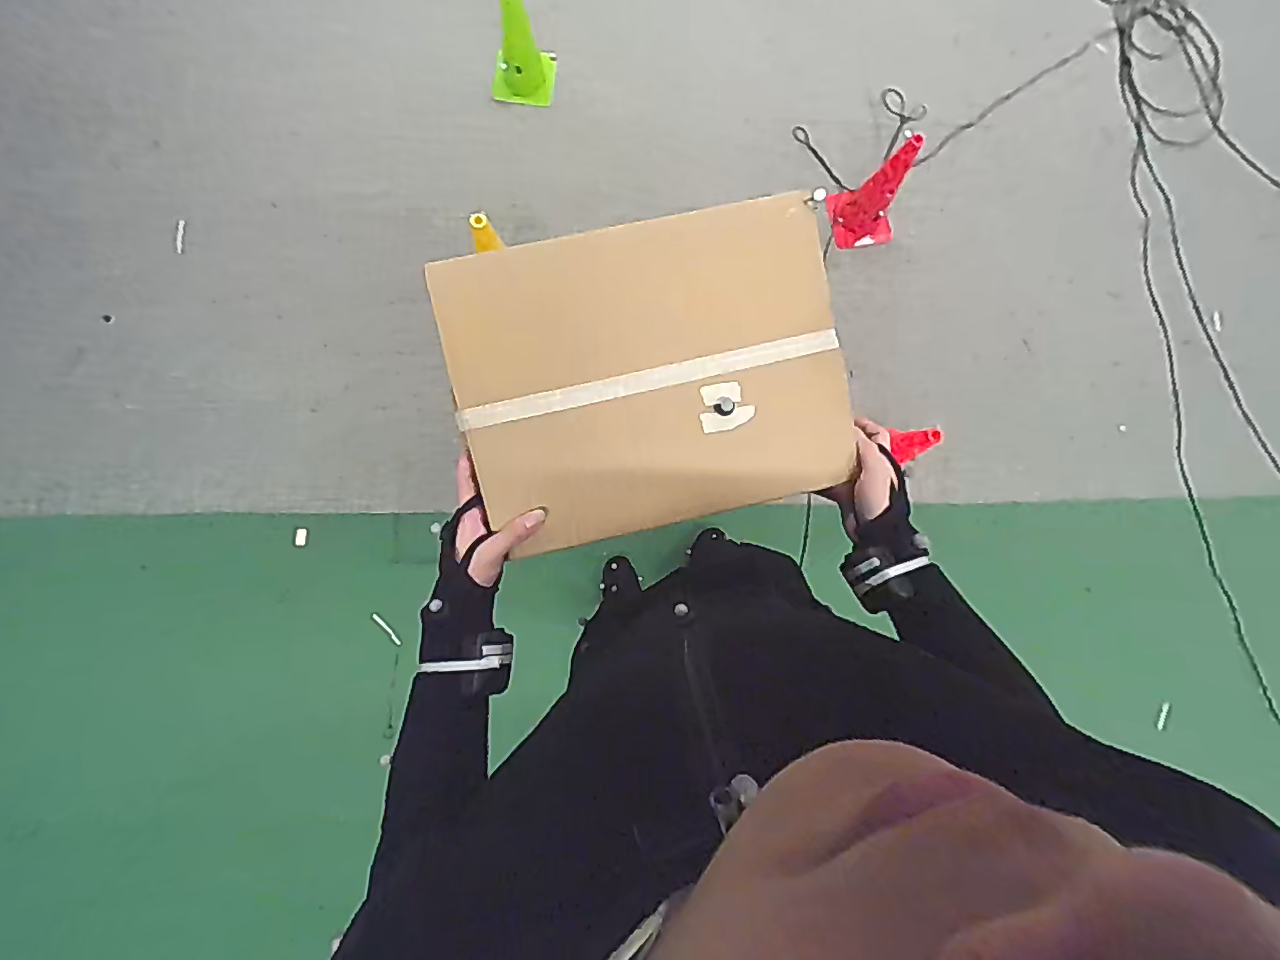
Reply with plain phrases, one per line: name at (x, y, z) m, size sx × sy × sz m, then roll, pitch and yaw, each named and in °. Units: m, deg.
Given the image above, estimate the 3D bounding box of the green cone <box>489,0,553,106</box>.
green cone at (-0.393, -1.384, 1.659) m, size 0.200 × 0.368 × 0.202 m, roll 5°, pitch 84°, yaw -2°

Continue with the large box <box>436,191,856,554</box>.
large box at (0.003, -0.124, 0.721) m, size 0.408 × 0.320 × 0.320 m, roll -13°, pitch 97°, yaw -4°

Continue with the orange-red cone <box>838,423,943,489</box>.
orange-red cone at (0.747, -0.097, 1.556) m, size 0.199 × 0.360 × 0.198 m, roll 6°, pitch 83°, yaw -4°
